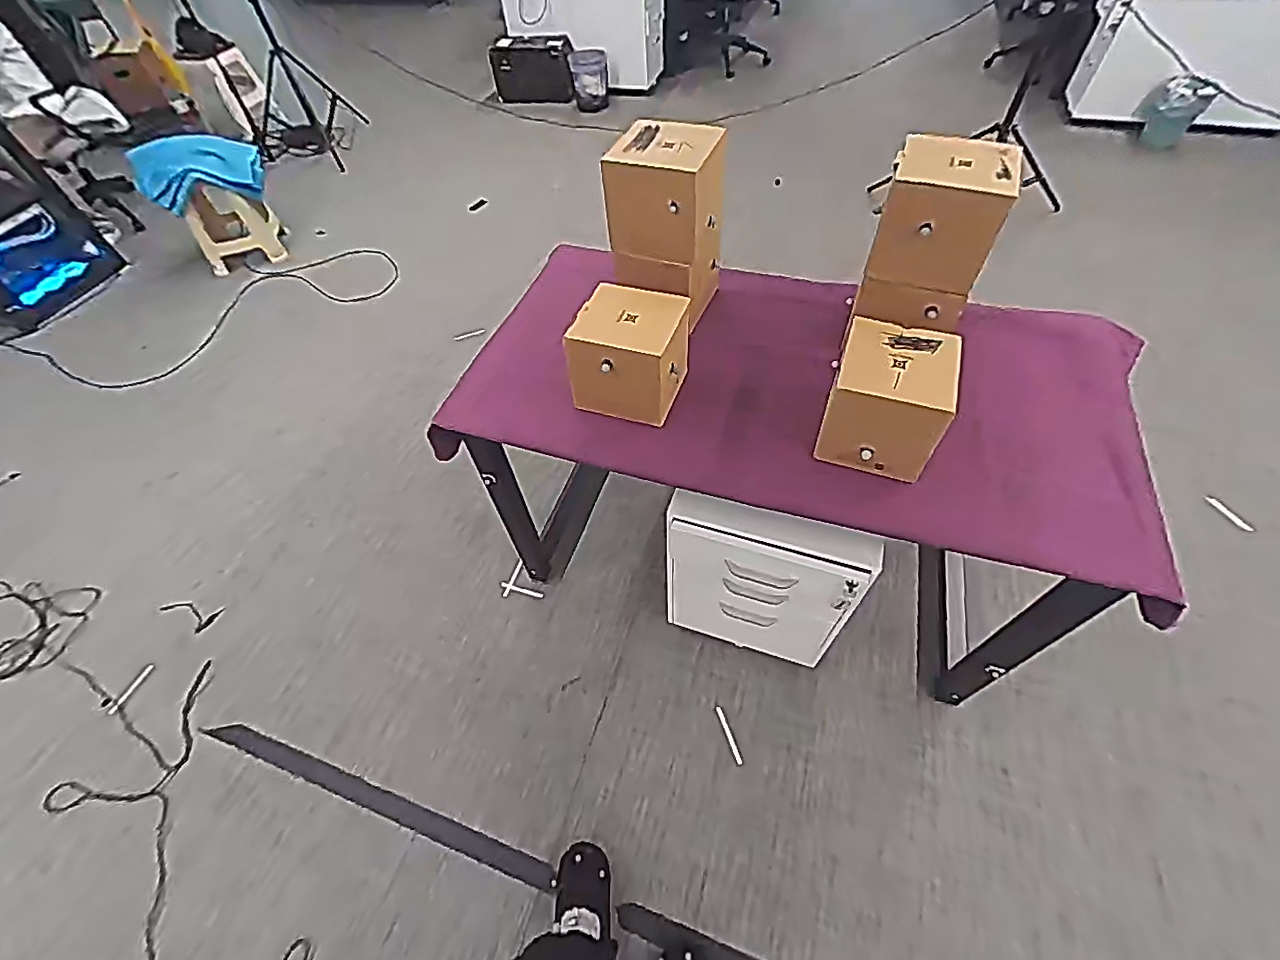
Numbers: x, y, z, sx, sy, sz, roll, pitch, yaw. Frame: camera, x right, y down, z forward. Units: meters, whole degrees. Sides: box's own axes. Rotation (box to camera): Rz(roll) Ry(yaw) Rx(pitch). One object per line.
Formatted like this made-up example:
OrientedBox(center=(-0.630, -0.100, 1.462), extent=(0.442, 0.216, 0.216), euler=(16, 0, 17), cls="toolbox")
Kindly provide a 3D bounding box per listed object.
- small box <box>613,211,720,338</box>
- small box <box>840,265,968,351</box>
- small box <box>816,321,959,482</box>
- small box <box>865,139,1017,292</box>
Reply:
OrientedBox(center=(0.058, -0.429, 1.134), extent=(0.168, 0.176, 0.179), euler=(17, 59, 18), cls="small box")
OrientedBox(center=(0.504, -0.341, 1.035), extent=(0.179, 0.176, 0.168), euler=(16, 57, 16), cls="small box")
OrientedBox(center=(0.396, -0.127, 0.882), extent=(0.168, 0.176, 0.179), euler=(16, 55, 16), cls="small box")
OrientedBox(center=(0.493, -0.440, 0.904), extent=(0.179, 0.176, 0.168), euler=(17, 58, 17), cls="small box")
